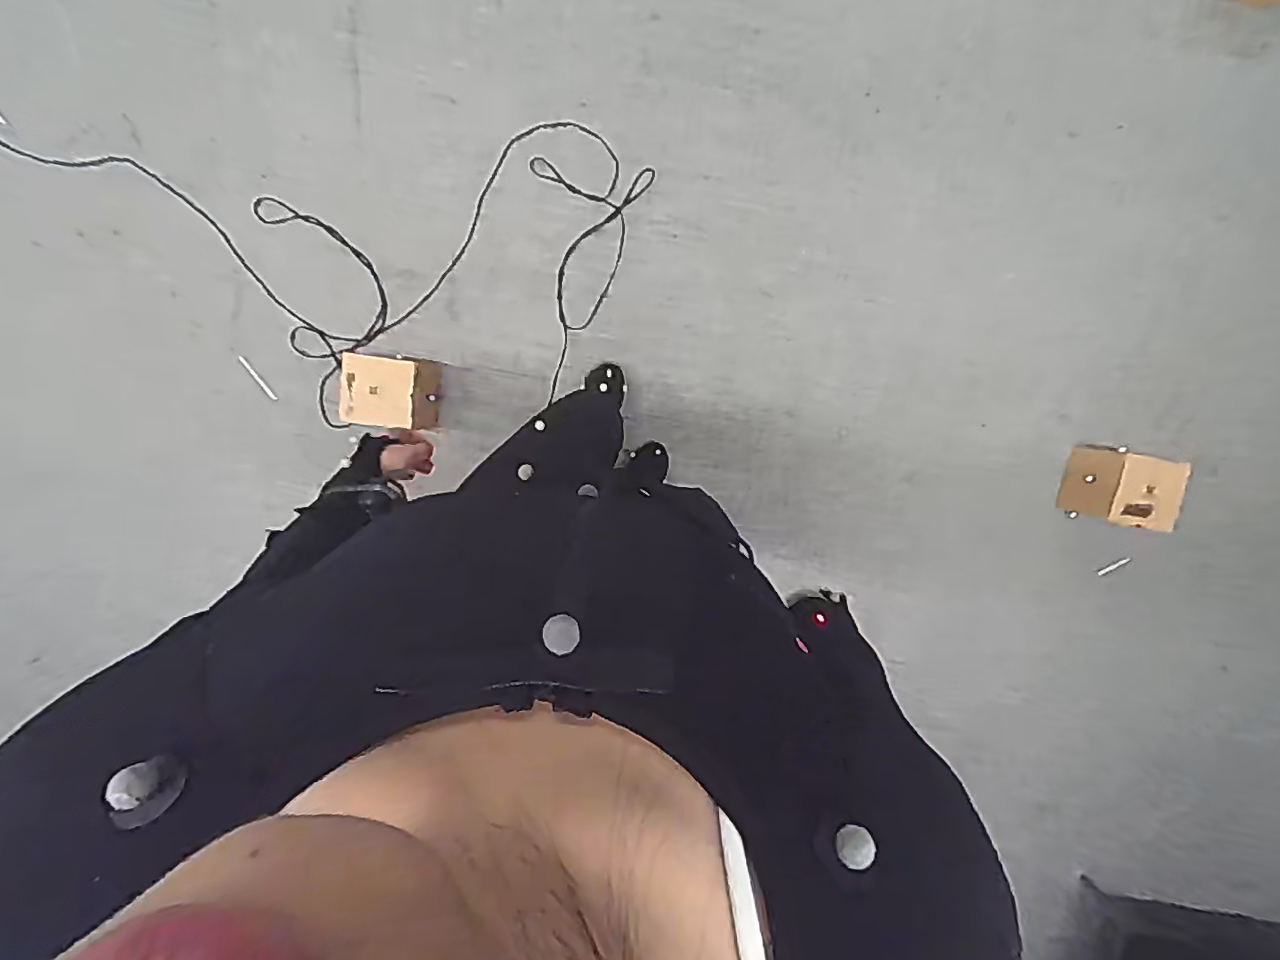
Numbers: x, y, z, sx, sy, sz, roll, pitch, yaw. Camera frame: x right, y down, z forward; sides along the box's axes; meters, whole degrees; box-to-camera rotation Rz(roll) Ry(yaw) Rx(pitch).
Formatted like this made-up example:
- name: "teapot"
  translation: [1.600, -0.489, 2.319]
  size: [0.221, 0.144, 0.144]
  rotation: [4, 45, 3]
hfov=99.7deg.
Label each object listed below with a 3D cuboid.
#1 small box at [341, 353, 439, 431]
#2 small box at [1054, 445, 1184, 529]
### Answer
- name: "small box"
  translation: [-0.621, -0.221, 1.361]
  size: [0.179, 0.176, 0.168]
  rotation: [7, 99, -2]
- name: "small box"
  translation: [1.240, 0.013, 1.417]
  size: [0.168, 0.176, 0.179]
  rotation: [11, 98, -2]
